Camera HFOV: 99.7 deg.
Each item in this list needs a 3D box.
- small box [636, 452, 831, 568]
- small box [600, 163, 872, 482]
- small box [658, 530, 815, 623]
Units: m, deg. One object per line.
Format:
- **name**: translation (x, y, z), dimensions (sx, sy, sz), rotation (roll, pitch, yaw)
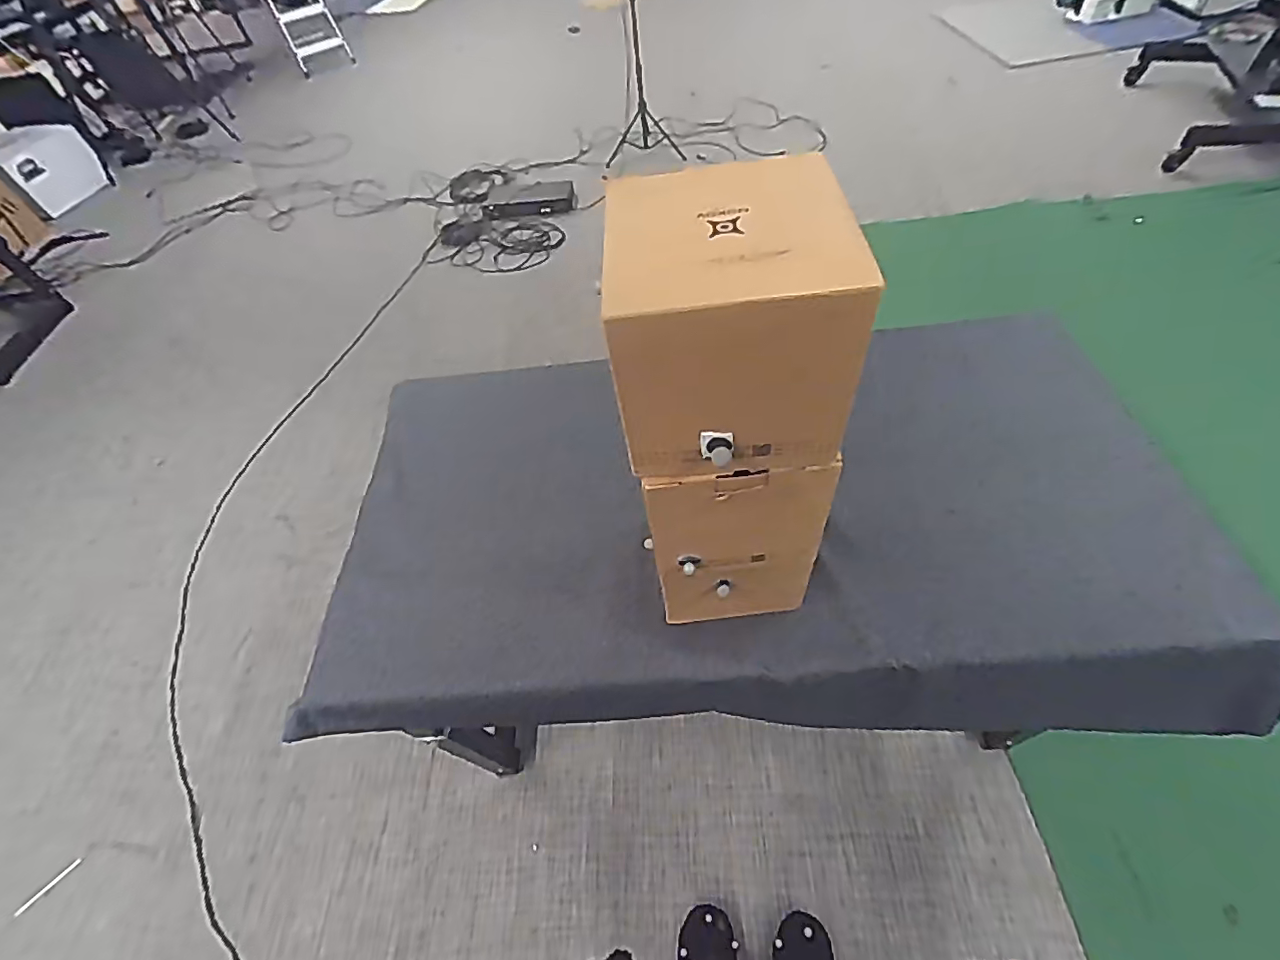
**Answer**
- **small box**: translation (0.085, -0.021, 0.563), dimensions (0.168, 0.176, 0.179), rotation (-7, 51, 3)
- **small box**: translation (0.064, -0.121, 0.437), dimensions (0.168, 0.176, 0.179), rotation (-6, 53, 5)
- **small box**: translation (0.108, 0.069, 0.701), dimensions (0.179, 0.176, 0.168), rotation (-10, 51, 0)
